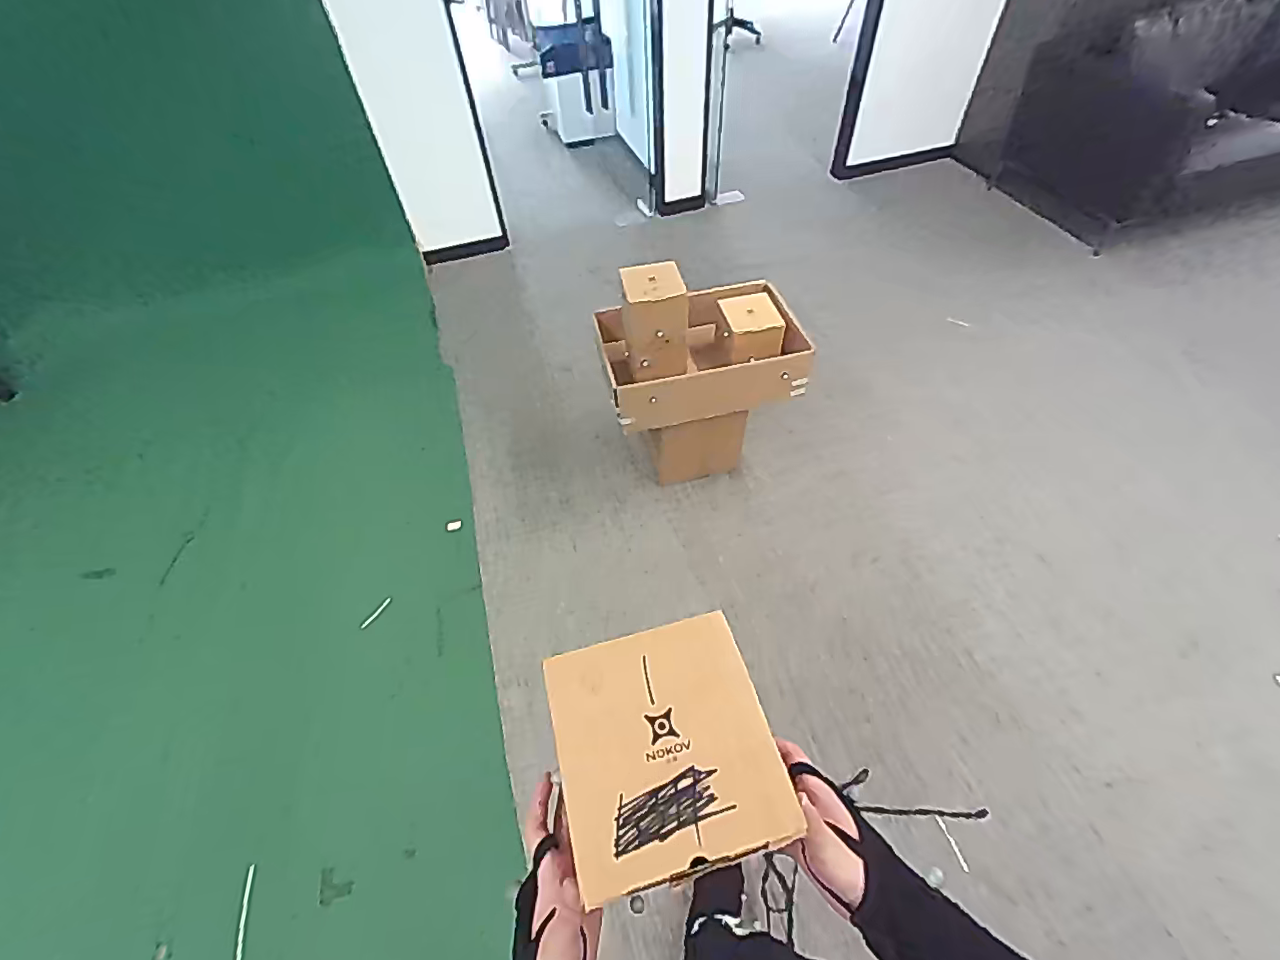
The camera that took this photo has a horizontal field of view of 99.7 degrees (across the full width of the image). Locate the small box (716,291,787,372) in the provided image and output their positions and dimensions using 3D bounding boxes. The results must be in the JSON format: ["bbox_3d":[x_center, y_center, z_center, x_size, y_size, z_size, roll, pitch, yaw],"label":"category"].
[{"bbox_3d":[0.349,-0.473,1.731,0.168,0.176,0.179,-12,53,-5],"label":"small box"}]

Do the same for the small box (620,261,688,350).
[{"bbox_3d":[0.040,-0.504,1.569,0.168,0.176,0.179,-11,52,-3],"label":"small box"}]

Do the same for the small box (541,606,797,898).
[{"bbox_3d":[0.018,0.243,0.485,0.168,0.176,0.179,-13,53,-7],"label":"small box"}]
